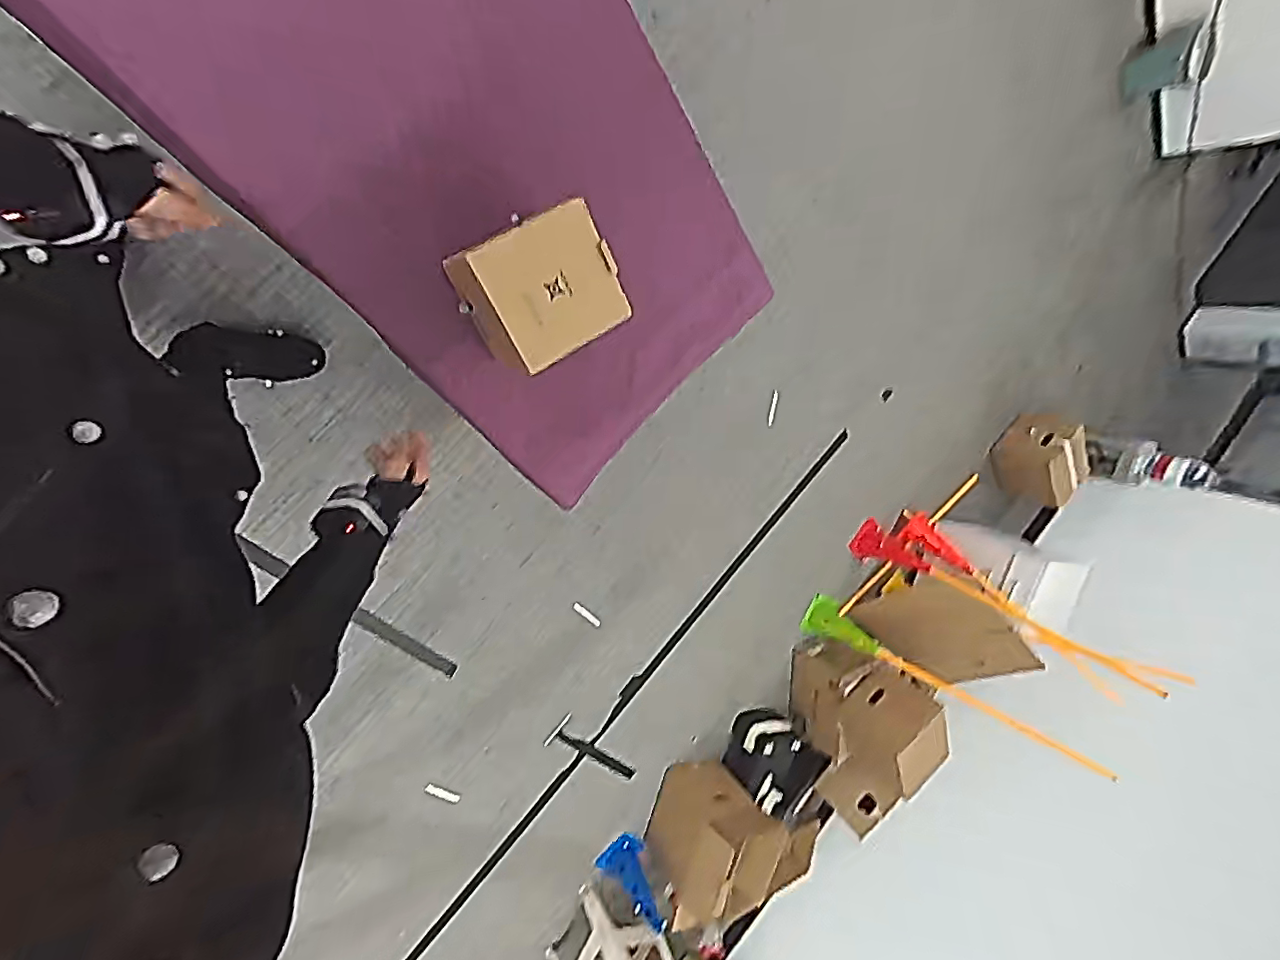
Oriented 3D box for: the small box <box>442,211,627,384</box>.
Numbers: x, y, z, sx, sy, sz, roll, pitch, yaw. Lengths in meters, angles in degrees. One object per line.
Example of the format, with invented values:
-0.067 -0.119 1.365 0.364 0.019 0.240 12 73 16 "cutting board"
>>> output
-0.155 -0.260 0.774 0.179 0.176 0.168 -36 120 -17 "small box"
